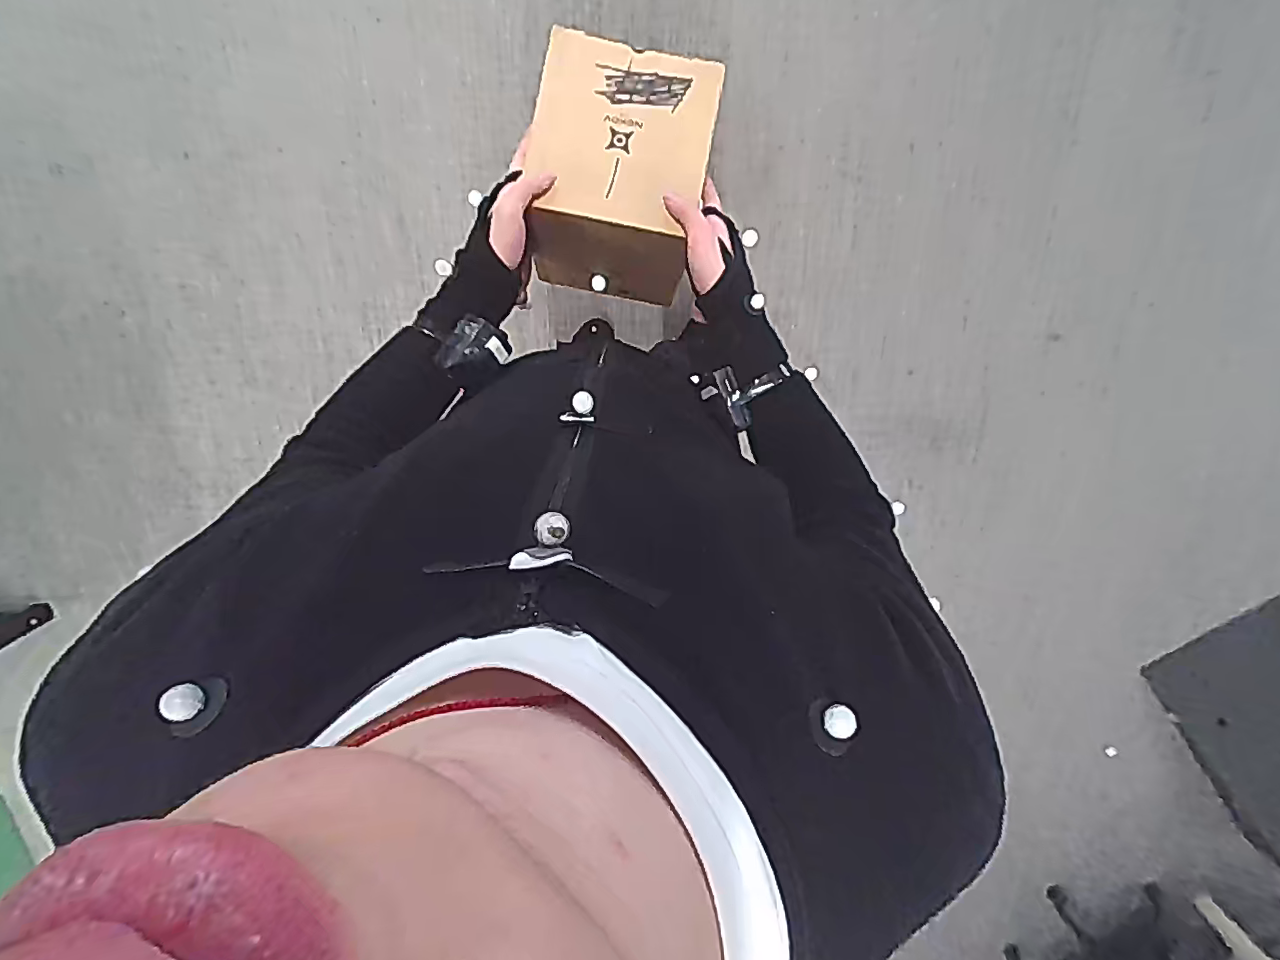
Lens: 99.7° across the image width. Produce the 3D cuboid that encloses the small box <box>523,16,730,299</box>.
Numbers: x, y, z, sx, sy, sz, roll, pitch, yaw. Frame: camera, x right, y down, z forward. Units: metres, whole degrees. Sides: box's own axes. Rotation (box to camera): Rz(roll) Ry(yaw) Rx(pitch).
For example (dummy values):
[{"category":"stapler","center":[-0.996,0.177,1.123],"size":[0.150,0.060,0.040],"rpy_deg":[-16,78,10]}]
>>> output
[{"category":"small box","center":[-0.016,-0.320,0.571],"size":[0.168,0.176,0.179],"rpy_deg":[11,85,-2]}]
